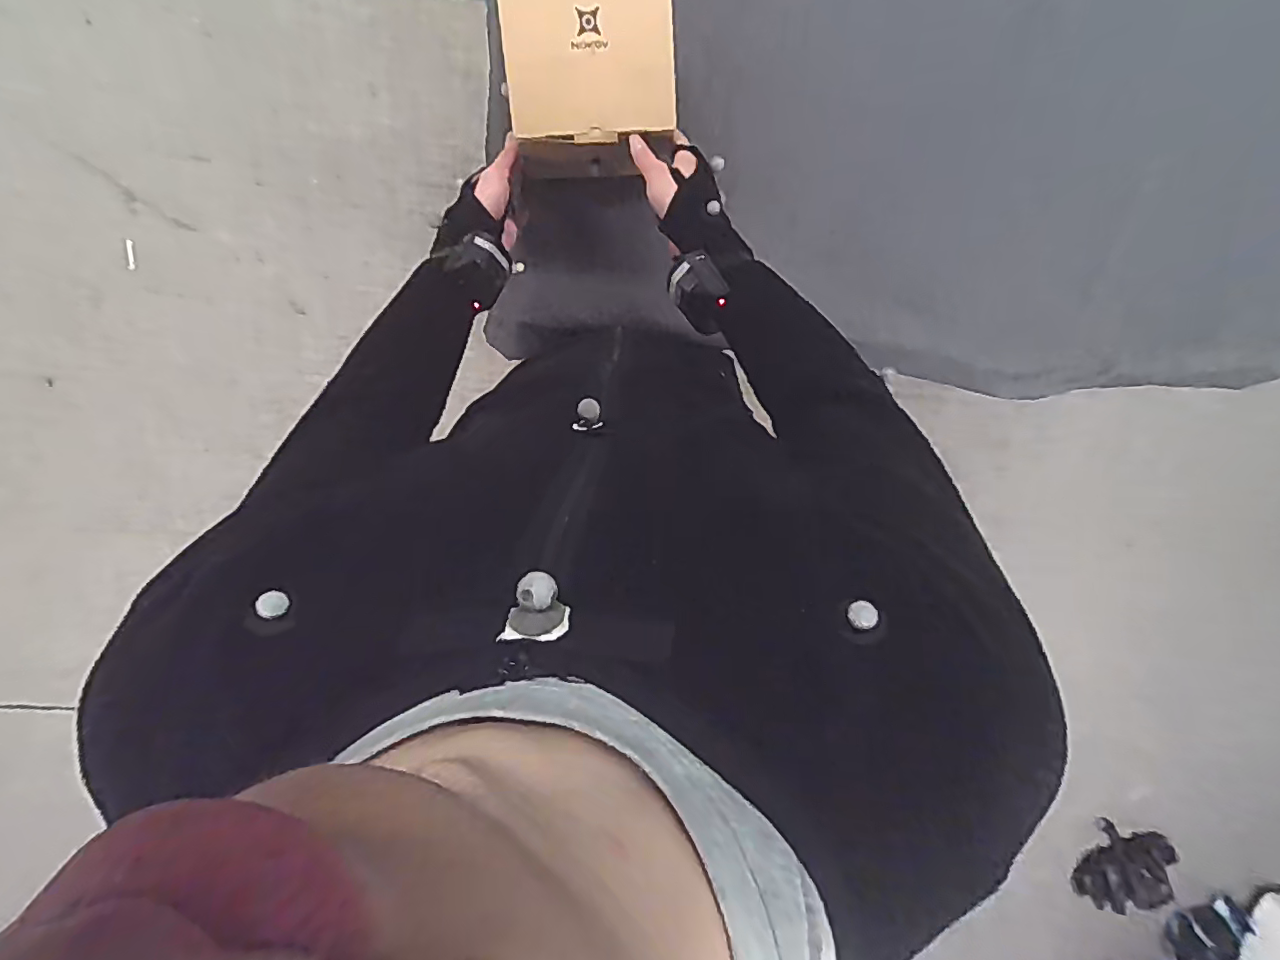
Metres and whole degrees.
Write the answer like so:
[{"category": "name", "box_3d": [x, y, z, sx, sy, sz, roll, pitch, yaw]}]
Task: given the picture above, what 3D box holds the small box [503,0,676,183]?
[{"category": "small box", "box_3d": [-0.055, -0.444, 0.607, 0.168, 0.176, 0.179, -6, 108, -5]}]
